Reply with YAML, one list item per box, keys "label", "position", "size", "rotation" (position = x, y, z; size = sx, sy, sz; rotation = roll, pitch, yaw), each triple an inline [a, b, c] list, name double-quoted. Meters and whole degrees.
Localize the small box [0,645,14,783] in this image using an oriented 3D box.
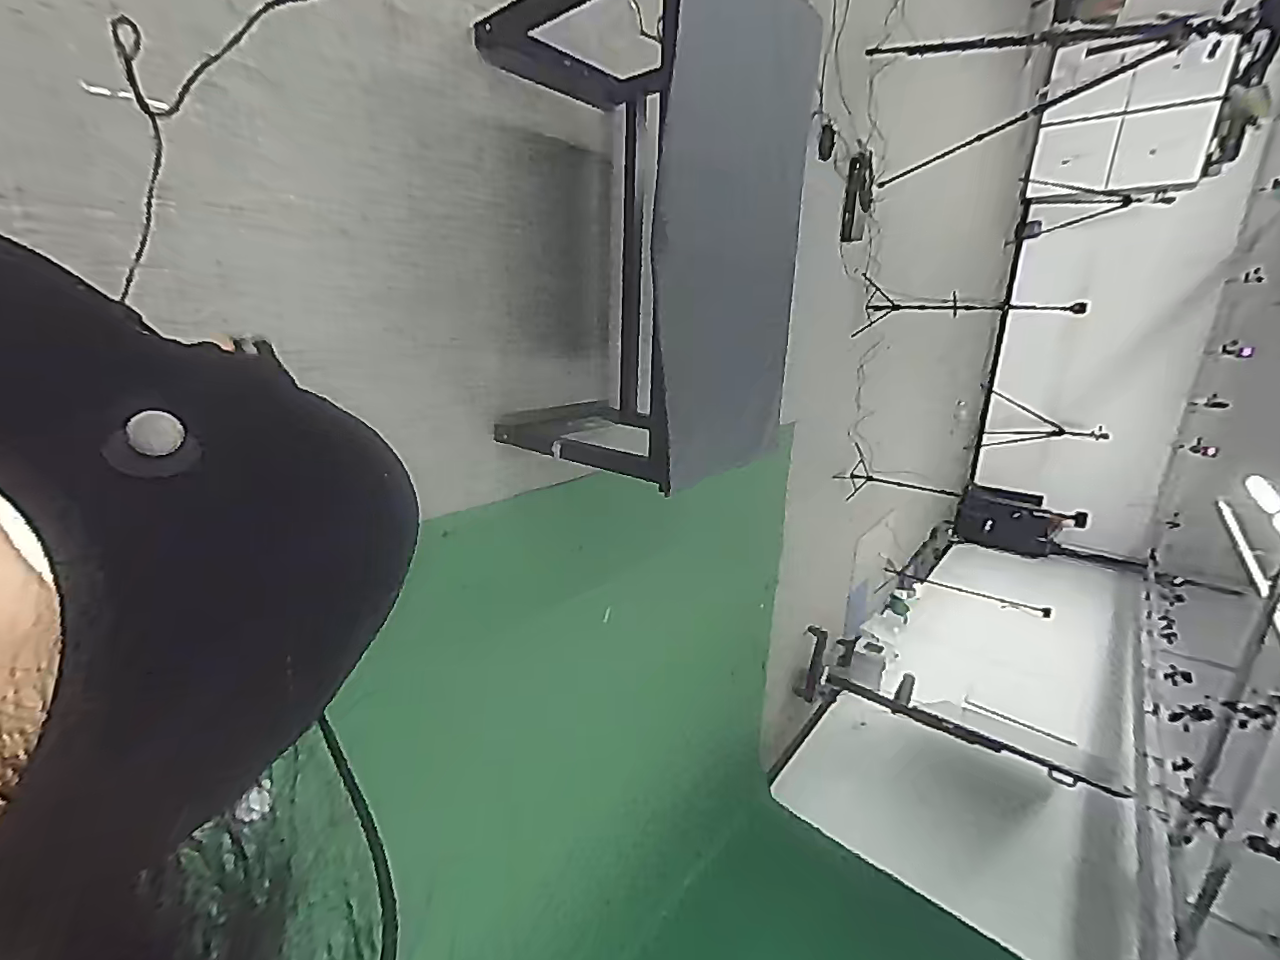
- label: "small box"
  position: [-1.055, 0.362, 0.789]
  size: [0.179, 0.176, 0.168]
  rotation: [-5, 105, -52]
